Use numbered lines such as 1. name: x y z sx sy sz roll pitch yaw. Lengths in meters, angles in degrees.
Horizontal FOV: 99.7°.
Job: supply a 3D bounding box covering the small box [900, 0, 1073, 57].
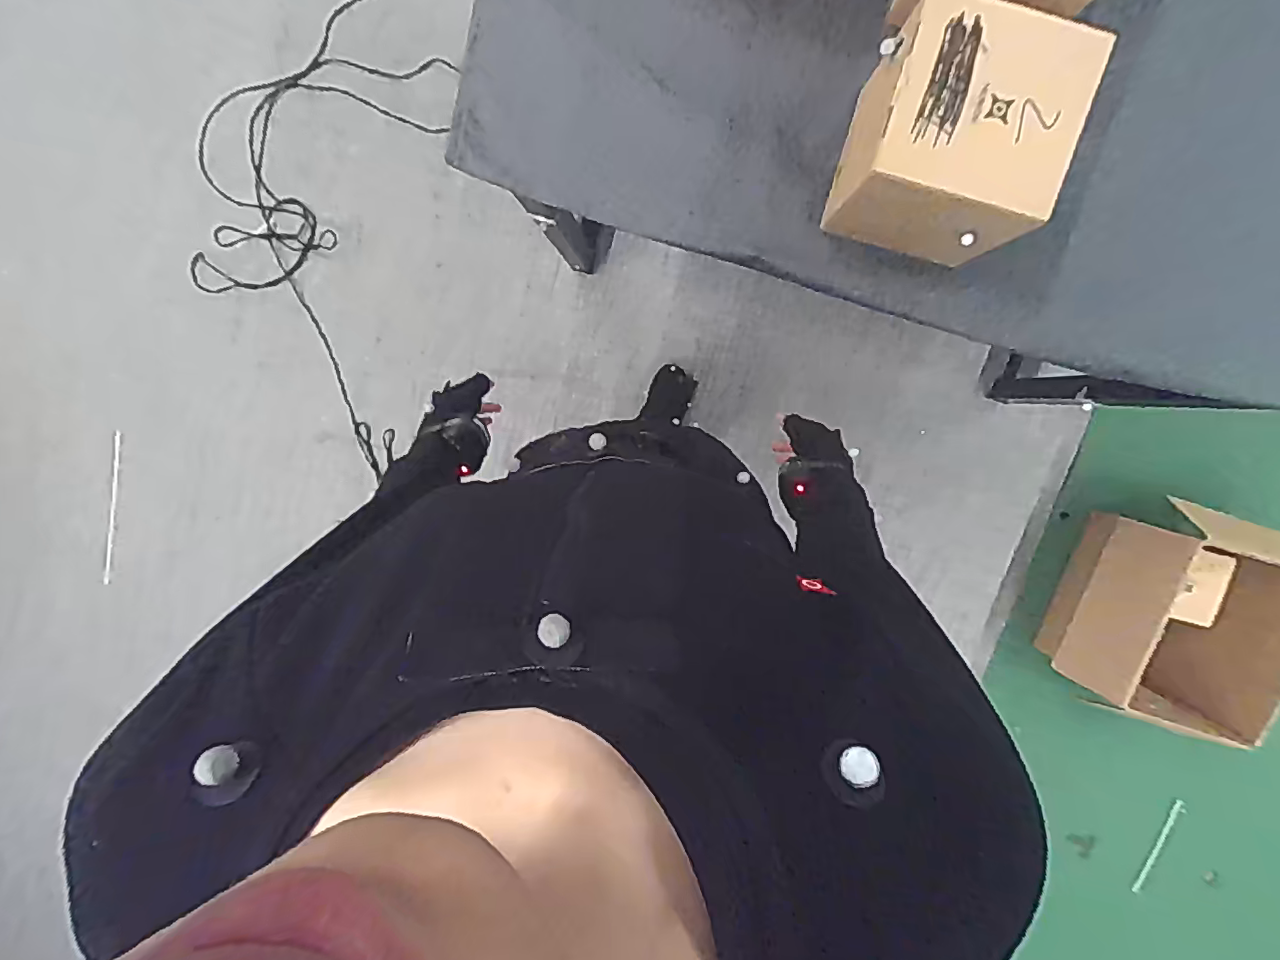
1. small box: 0.385 -0.577 0.535 0.168 0.176 0.179 20 99 -1
